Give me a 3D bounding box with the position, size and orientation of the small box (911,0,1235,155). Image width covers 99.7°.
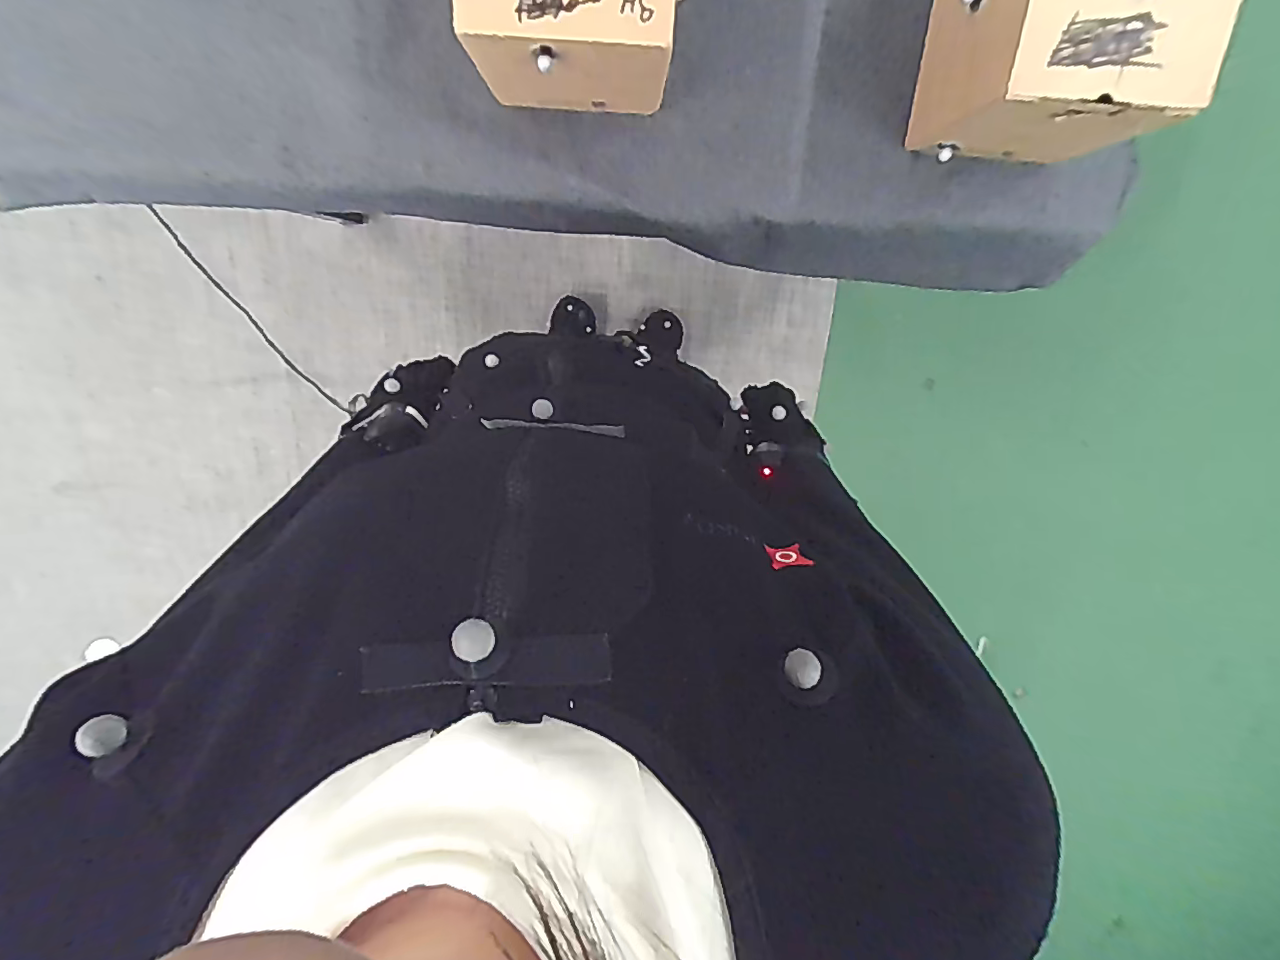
[{"bbox_3d":[0.371,-0.409,0.480,0.168,0.176,0.179,4,108,-3],"label":"small box"}]

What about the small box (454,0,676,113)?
[{"bbox_3d":[-0.055,-0.442,0.455,0.168,0.176,0.179,2,109,-3],"label":"small box"}]
